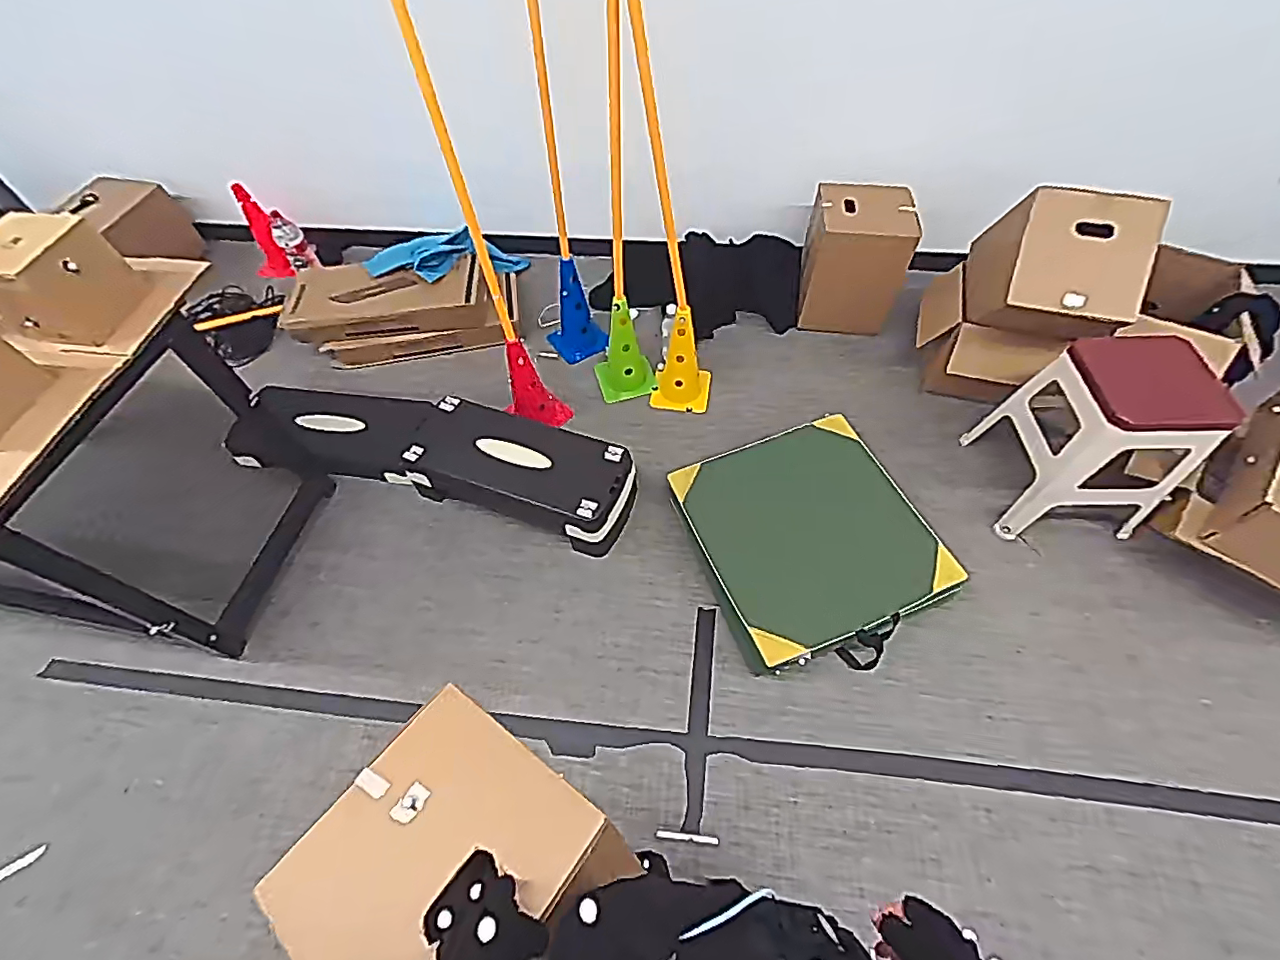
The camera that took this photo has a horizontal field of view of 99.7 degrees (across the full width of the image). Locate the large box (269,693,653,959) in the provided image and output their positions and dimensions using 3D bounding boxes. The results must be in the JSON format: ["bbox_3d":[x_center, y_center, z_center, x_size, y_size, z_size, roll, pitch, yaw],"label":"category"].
[{"bbox_3d":[-0.219,0.590,0.788,0.320,0.408,0.320,24,55,32],"label":"large box"}]
